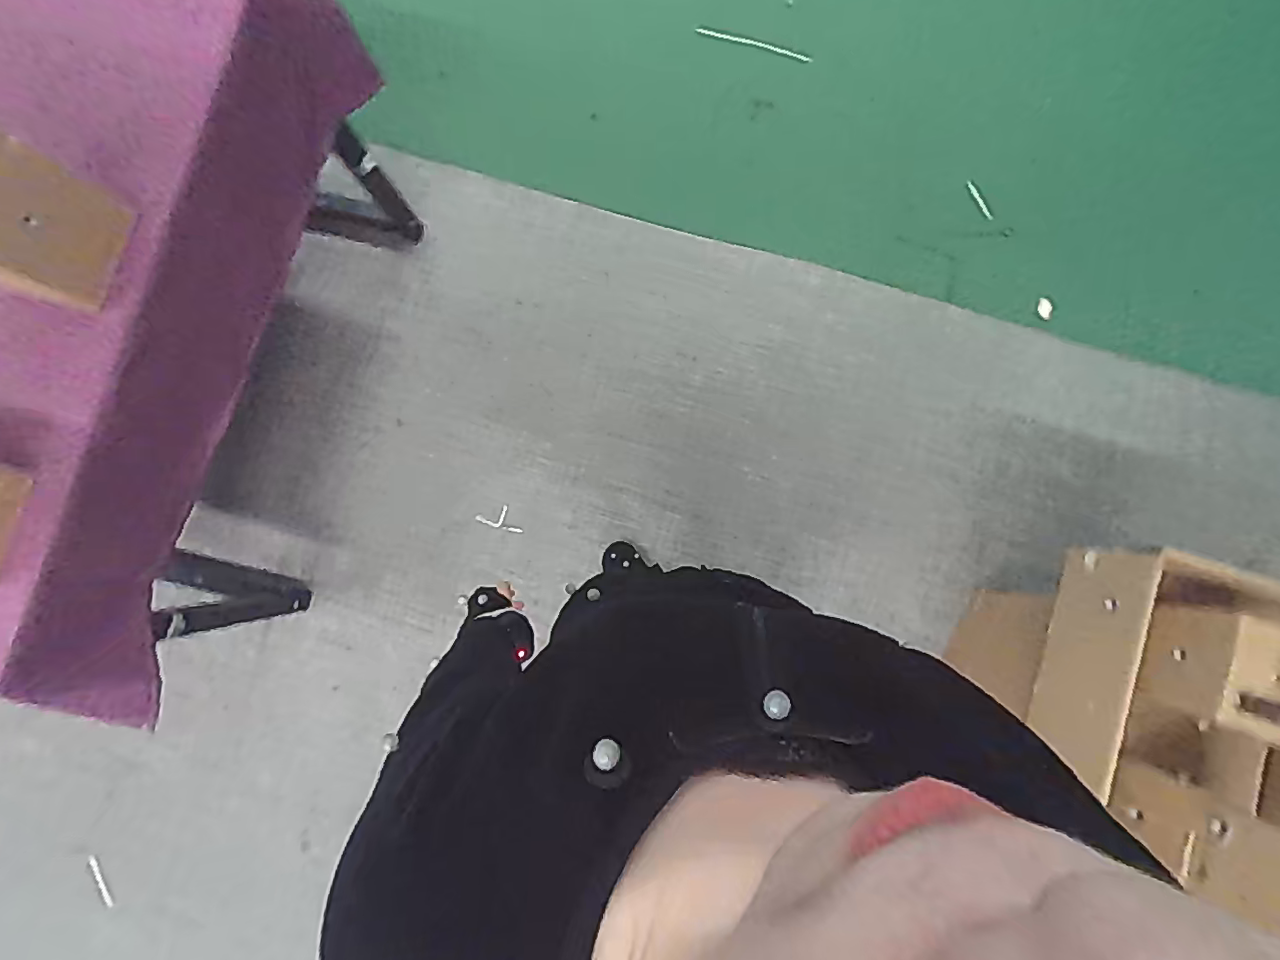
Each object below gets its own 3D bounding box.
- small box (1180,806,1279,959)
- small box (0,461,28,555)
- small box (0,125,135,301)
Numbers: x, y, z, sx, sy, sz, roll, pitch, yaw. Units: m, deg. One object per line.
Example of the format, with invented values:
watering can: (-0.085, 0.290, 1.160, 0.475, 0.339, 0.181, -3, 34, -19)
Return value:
small box: (0.905, 0.580, 0.731, 0.179, 0.176, 0.168, 21, 84, 2)
small box: (-1.010, 0.039, 0.728, 0.168, 0.176, 0.179, 14, 83, 3)
small box: (-0.892, -0.382, 0.772, 0.168, 0.176, 0.179, 16, 84, 2)
